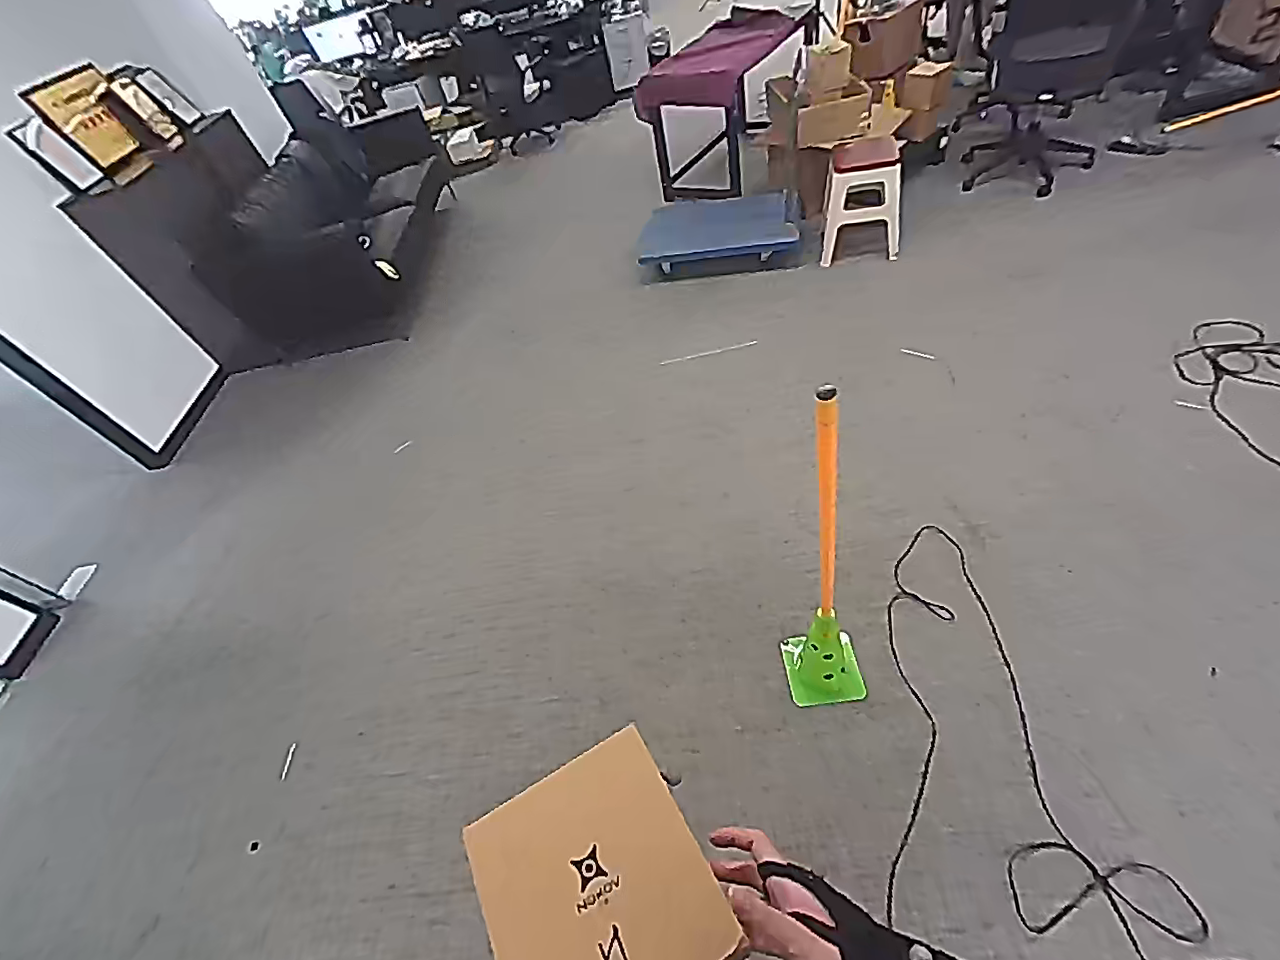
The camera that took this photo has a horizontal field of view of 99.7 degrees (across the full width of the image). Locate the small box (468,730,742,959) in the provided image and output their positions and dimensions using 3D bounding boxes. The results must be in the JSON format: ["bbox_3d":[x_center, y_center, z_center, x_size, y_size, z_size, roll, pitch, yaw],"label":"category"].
[{"bbox_3d":[-0.027,0.367,0.476,0.168,0.176,0.179,-26,48,-13],"label":"small box"}]

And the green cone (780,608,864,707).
[{"bbox_3d":[0.490,0.443,1.438,0.202,0.368,0.200,-9,49,6],"label":"green cone"}]
